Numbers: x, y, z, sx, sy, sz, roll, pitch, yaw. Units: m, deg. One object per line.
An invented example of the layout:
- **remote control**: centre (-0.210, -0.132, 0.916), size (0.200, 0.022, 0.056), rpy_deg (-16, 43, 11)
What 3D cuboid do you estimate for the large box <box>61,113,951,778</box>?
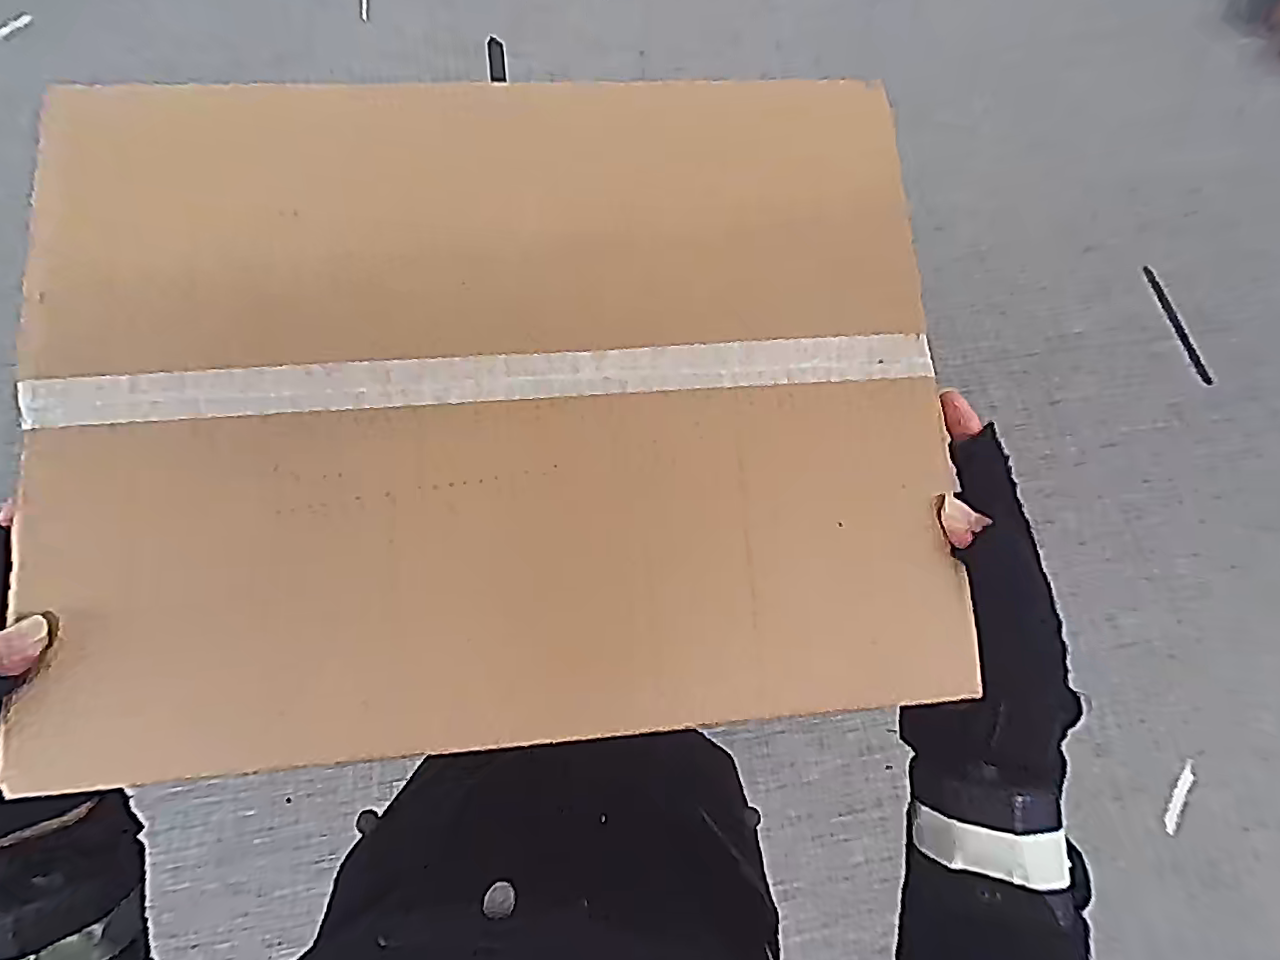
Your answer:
- **large box**: centre (-0.071, -0.017, 0.411), size (0.408, 0.320, 0.320), rpy_deg (-4, 82, -5)
